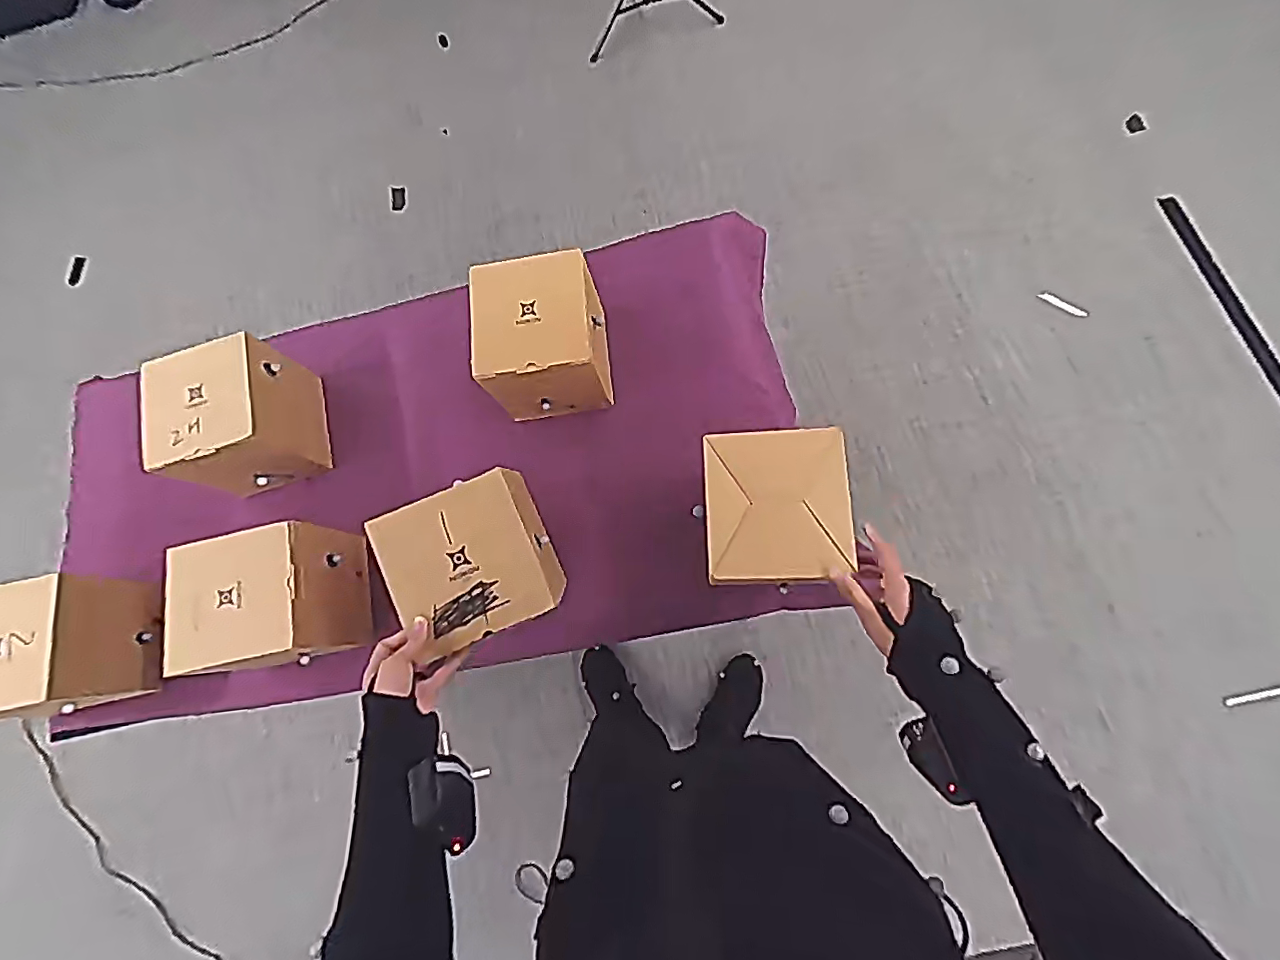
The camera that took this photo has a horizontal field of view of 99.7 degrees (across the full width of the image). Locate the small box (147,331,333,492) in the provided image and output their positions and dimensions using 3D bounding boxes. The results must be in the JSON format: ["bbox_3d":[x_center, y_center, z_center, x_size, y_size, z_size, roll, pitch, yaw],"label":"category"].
[{"bbox_3d":[-0.617,-0.098,0.849,0.168,0.176,0.179,-17,74,2],"label":"small box"}]

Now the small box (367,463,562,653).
[{"bbox_3d":[-0.208,0.090,0.697,0.168,0.176,0.179,-23,89,-5],"label":"small box"}]

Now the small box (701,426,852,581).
[{"bbox_3d":[0.167,0.038,0.705,0.168,0.176,0.179,-3,76,8],"label":"small box"}]

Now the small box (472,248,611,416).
[{"bbox_3d":[-0.143,-0.215,0.823,0.168,0.176,0.179,-8,76,5],"label":"small box"}]

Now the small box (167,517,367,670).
[{"bbox_3d":[-0.509,0.162,0.764,0.179,0.176,0.168,-13,73,3],"label":"small box"}]
